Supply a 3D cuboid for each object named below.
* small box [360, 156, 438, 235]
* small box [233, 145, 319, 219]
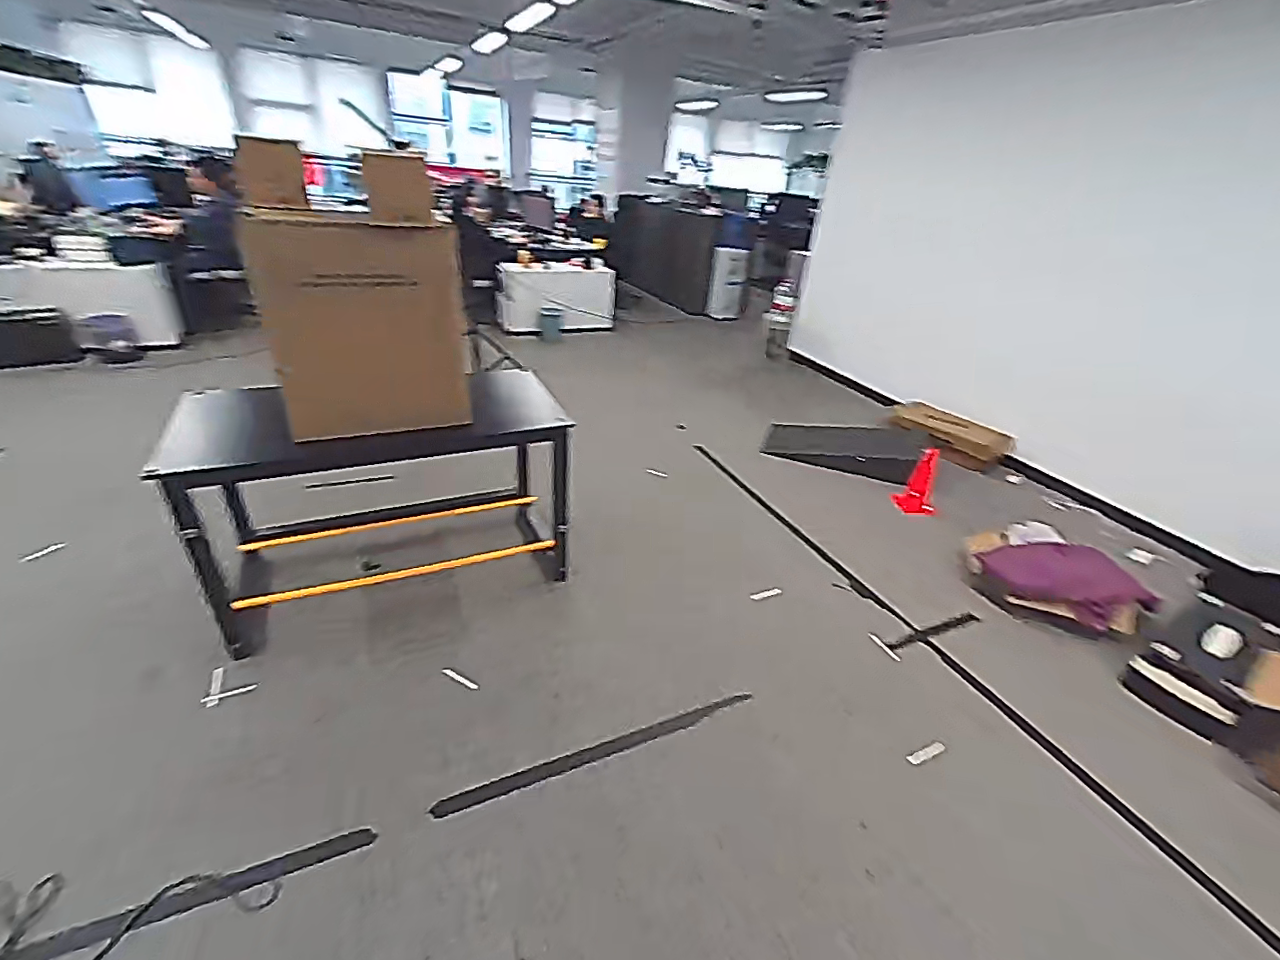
[{"bbox_3d":[-0.653,-0.778,1.477,0.168,0.176,0.179,-9,36,-18],"label":"small box"},{"bbox_3d":[-1.013,-0.835,1.517,0.168,0.176,0.179,-12,34,-27],"label":"small box"}]
